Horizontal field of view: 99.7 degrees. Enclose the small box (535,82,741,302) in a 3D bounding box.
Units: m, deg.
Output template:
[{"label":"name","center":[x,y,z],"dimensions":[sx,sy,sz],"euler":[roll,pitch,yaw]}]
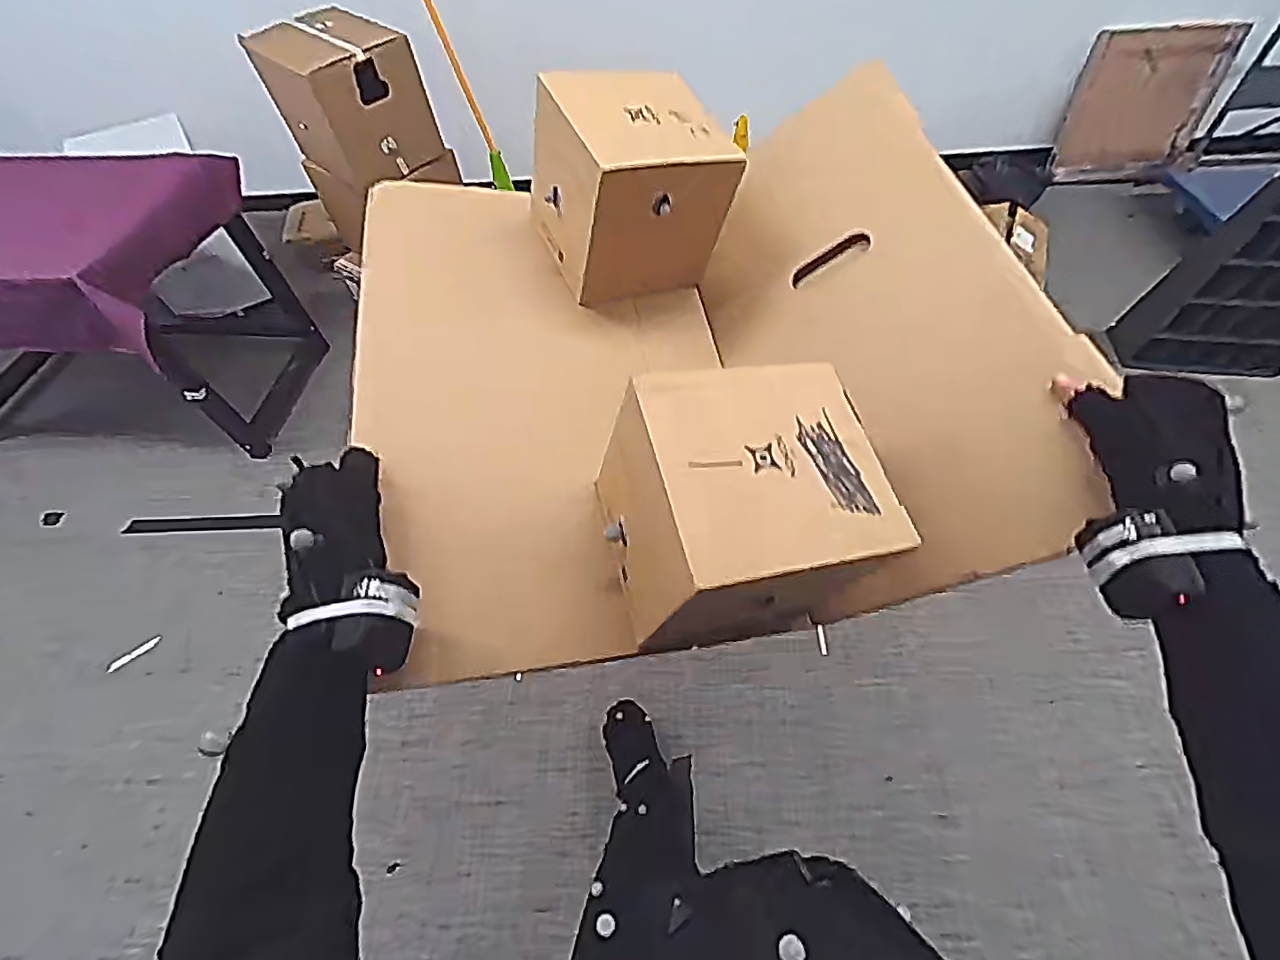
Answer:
[{"label":"small box","center":[-0.017,-0.333,0.638],"dimensions":[0.179,0.176,0.168],"euler":[-18,67,-23]}]
